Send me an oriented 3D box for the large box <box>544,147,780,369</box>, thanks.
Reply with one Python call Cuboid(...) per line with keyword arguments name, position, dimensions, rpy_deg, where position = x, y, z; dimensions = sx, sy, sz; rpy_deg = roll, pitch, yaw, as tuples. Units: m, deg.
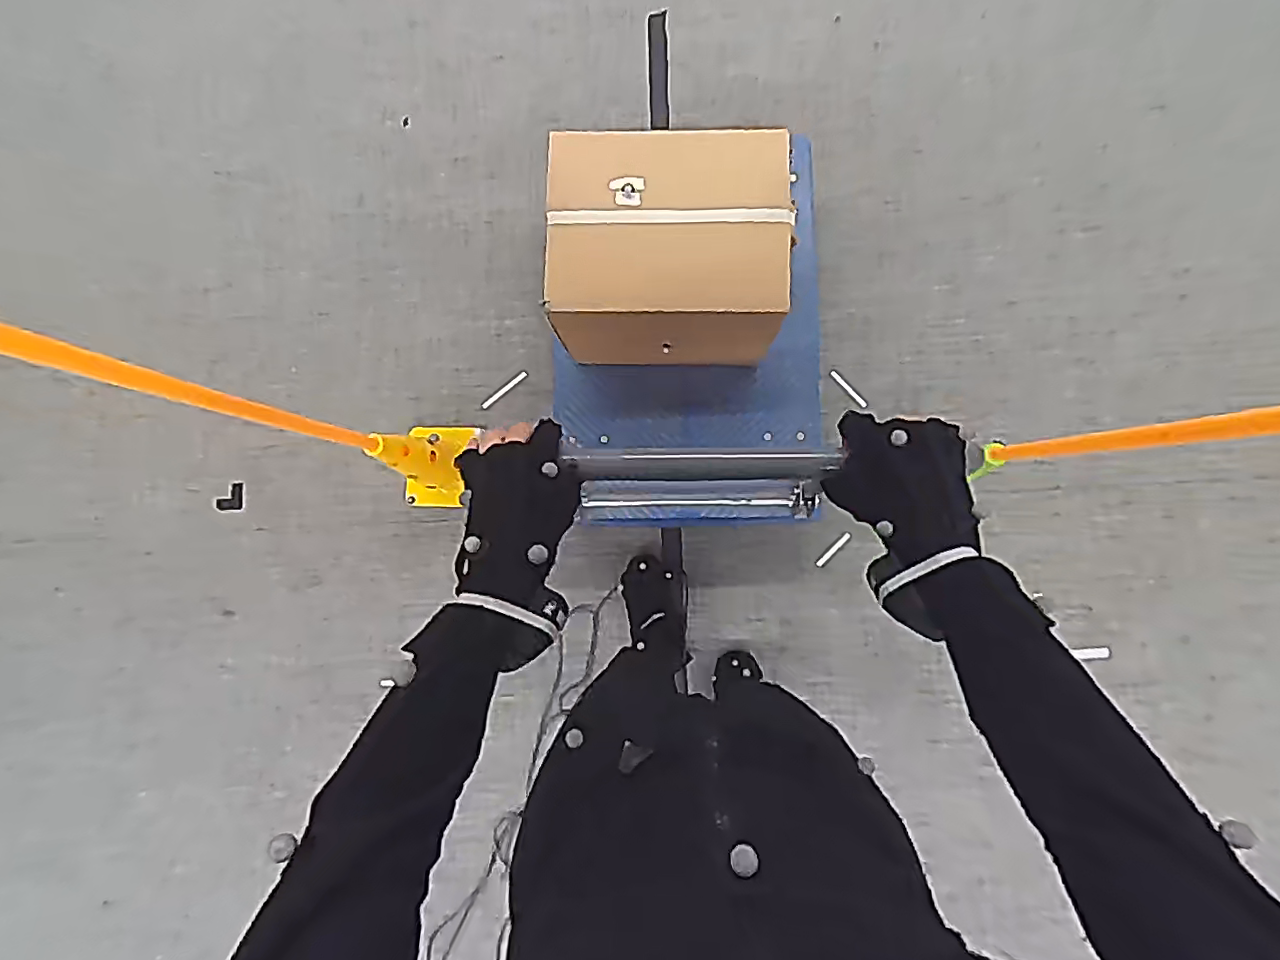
Cuboid(name="large box", position=(0.046, -0.403, 1.062), dimensions=(0.408, 0.320, 0.320), rpy_deg=(1, 87, 3))
